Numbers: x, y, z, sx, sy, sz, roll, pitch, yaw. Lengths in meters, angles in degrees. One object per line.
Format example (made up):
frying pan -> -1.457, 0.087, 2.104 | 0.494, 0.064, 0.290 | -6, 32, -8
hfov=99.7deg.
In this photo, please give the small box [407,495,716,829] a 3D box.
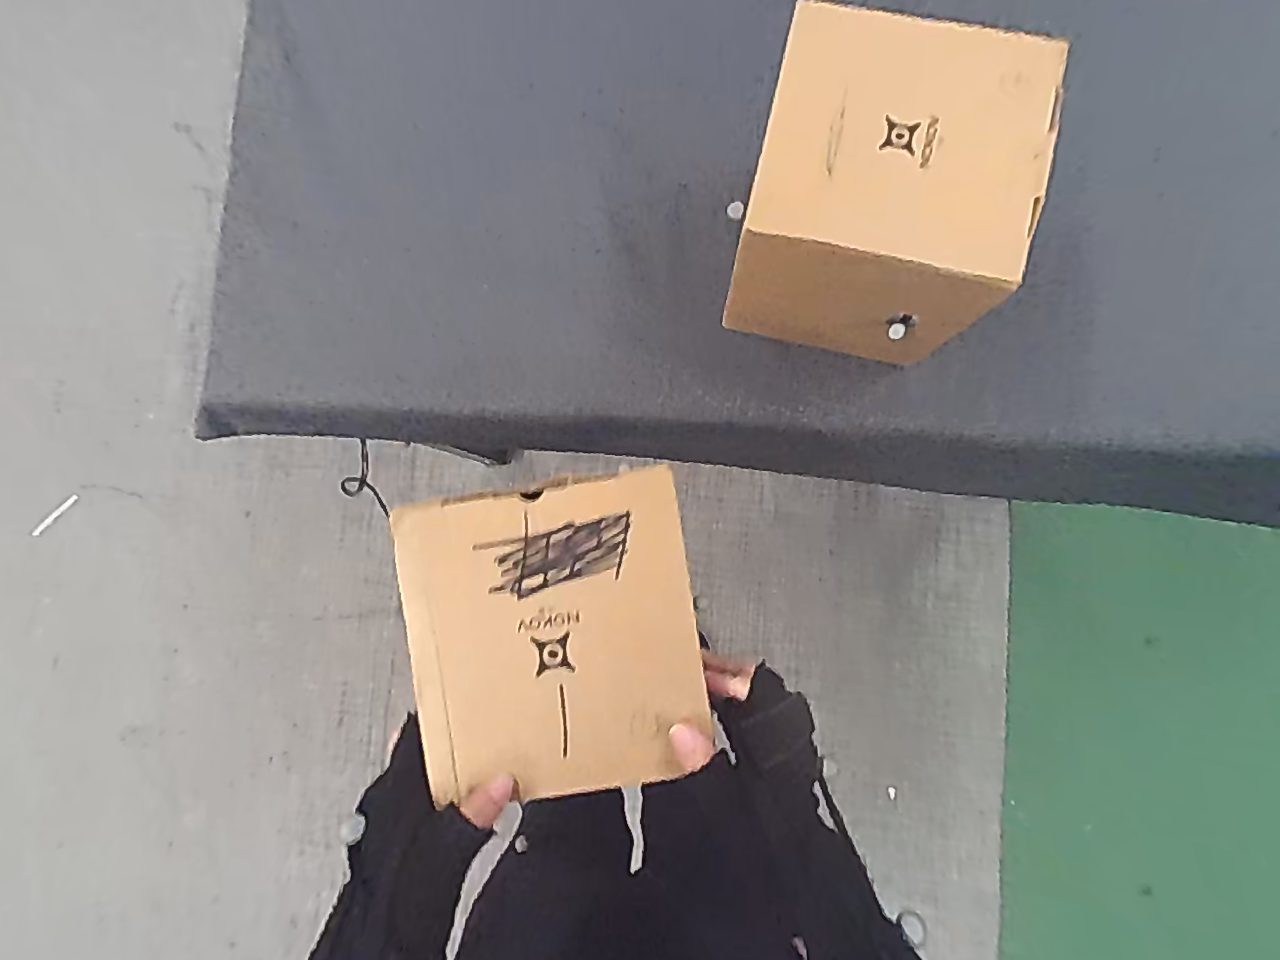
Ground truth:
small box -> -0.045, 0.109, 0.395 | 0.168, 0.176, 0.179 | -8, 88, 2
